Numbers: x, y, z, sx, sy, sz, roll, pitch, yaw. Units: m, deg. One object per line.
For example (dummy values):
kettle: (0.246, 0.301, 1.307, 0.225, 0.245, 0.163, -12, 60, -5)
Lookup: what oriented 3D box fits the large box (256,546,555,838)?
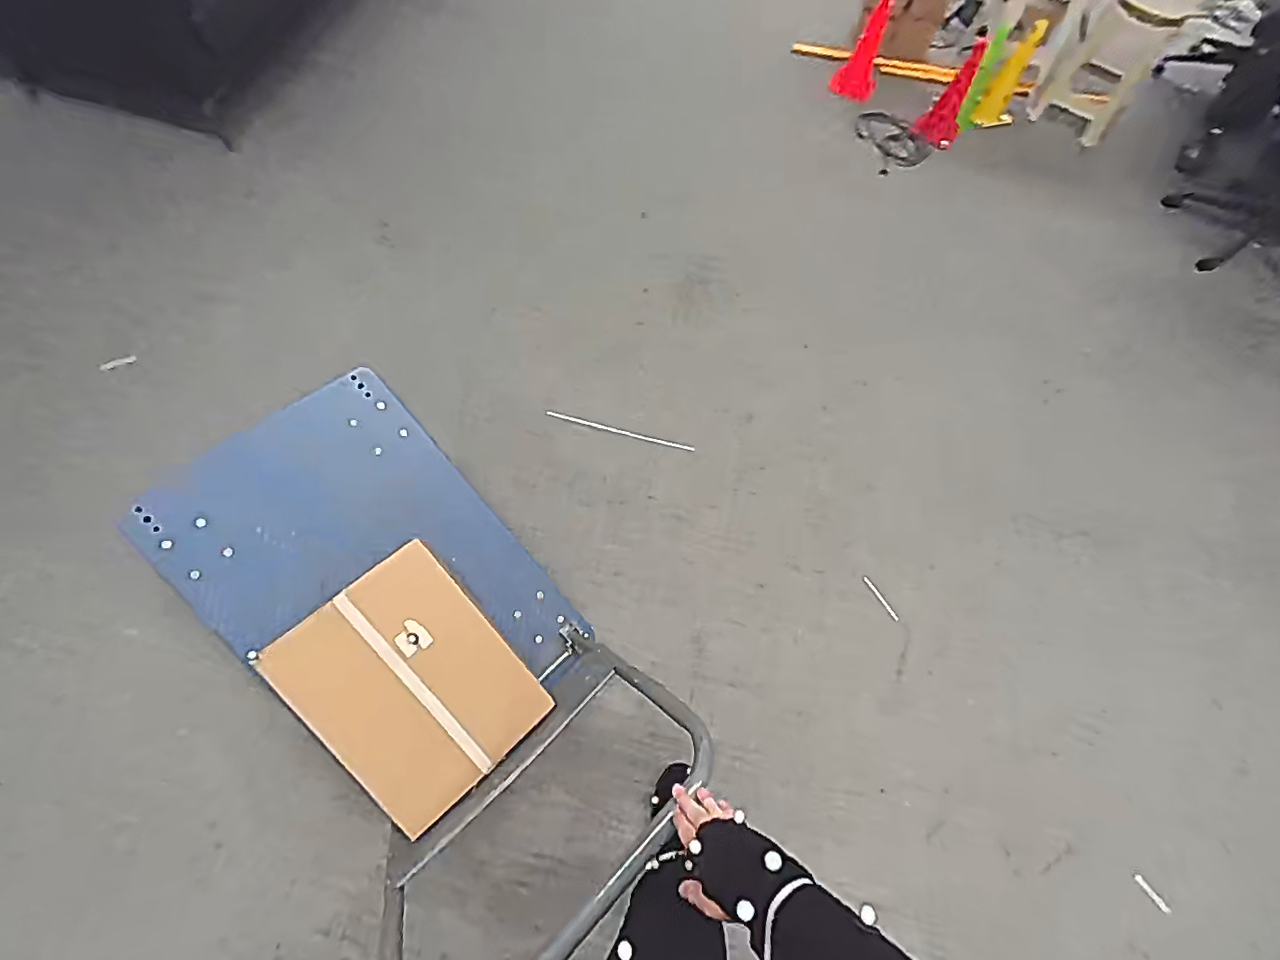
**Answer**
large box: (-0.433, 0.381, 1.075, 0.320, 0.320, 0.408, -40, 96, -21)
